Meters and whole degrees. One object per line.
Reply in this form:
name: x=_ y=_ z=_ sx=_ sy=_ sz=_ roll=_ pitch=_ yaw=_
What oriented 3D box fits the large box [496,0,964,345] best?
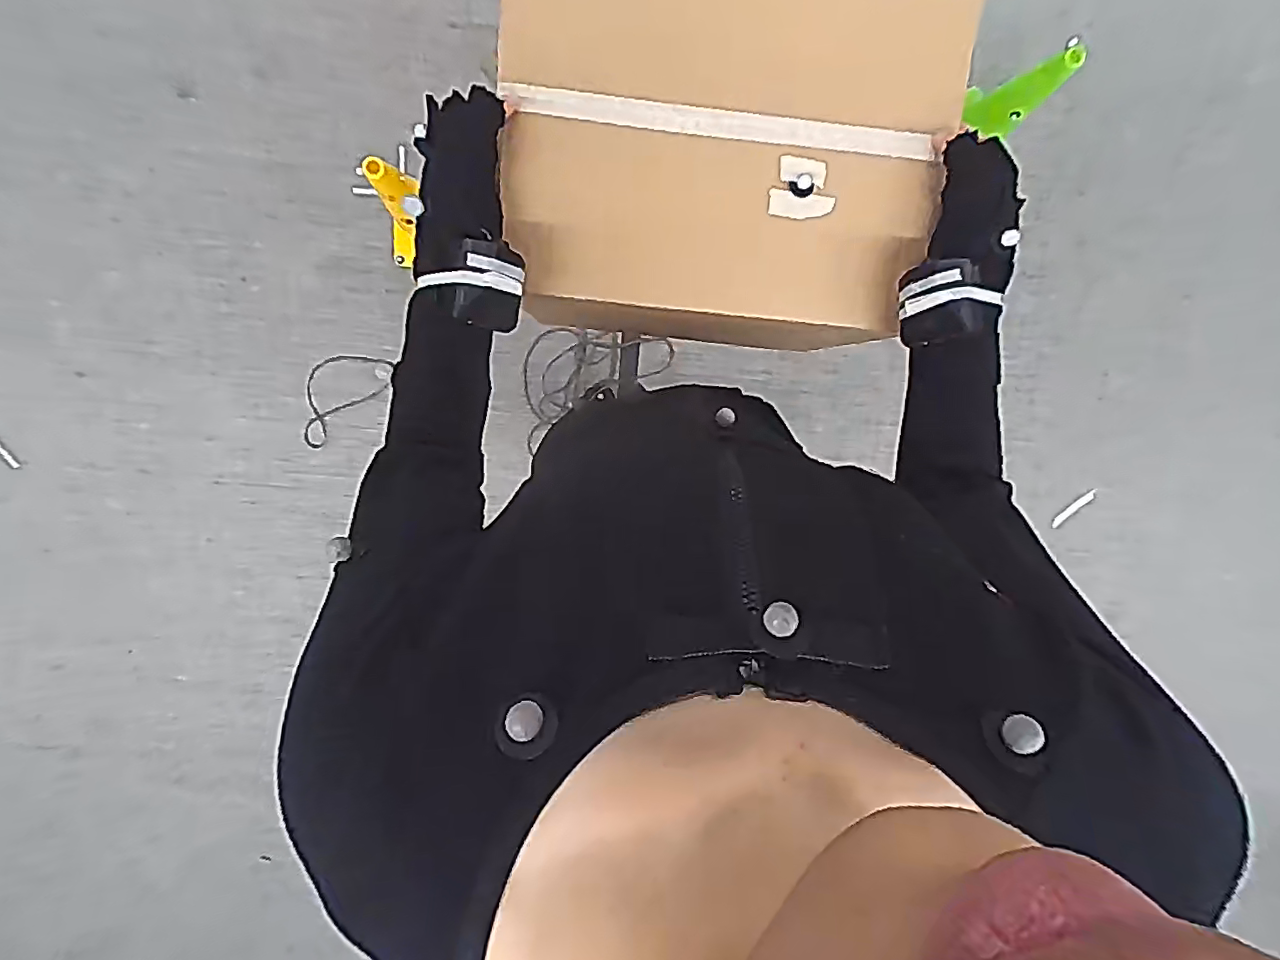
large box: x=0.066 y=-0.338 z=0.623 sx=0.408 sy=0.320 sz=0.320 roll=5 pitch=100 yaw=-4

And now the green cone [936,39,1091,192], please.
green cone: x=0.827 y=-0.843 z=1.208 sx=0.202 sy=0.368 sz=0.200 roll=-33 pitch=100 yaw=1
